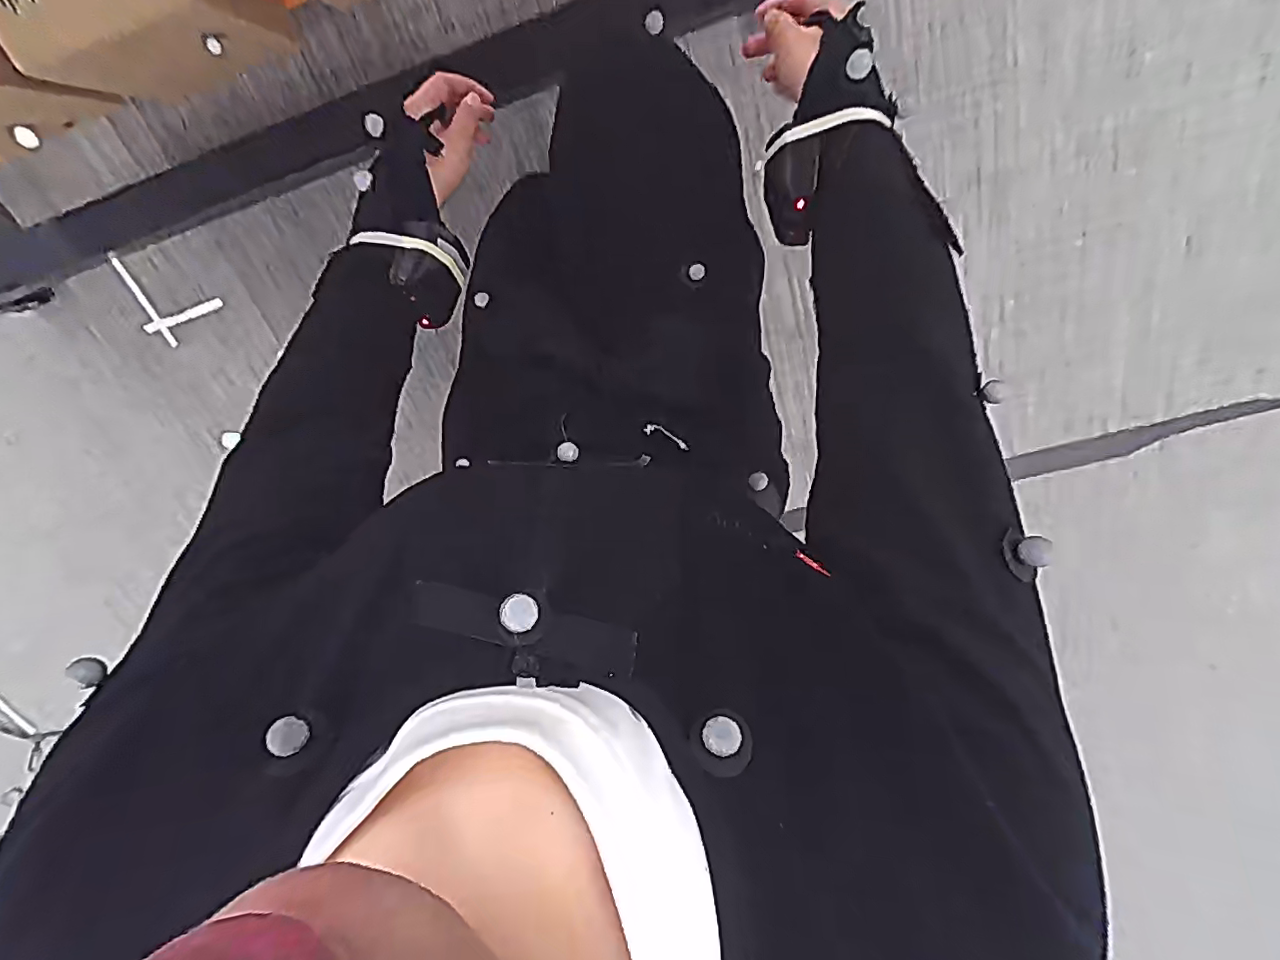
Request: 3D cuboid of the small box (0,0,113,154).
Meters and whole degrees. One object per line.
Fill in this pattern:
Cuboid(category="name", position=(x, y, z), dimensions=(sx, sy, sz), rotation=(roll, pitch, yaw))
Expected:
Cuboid(category="small box", position=(-0.667, -0.421, 0.490), dimensions=(0.168, 0.176, 0.179), rotation=(-15, 117, 8))
